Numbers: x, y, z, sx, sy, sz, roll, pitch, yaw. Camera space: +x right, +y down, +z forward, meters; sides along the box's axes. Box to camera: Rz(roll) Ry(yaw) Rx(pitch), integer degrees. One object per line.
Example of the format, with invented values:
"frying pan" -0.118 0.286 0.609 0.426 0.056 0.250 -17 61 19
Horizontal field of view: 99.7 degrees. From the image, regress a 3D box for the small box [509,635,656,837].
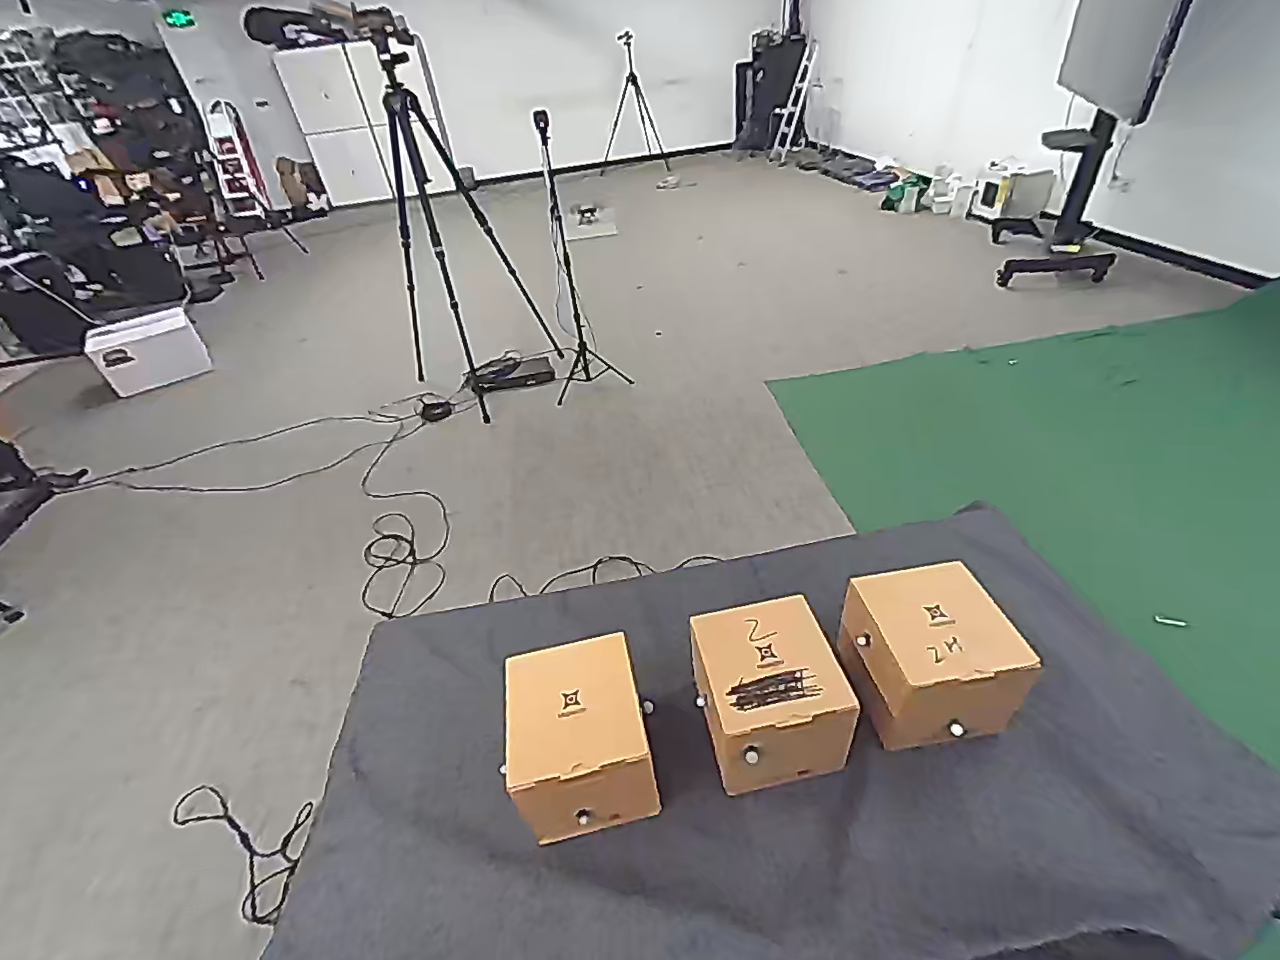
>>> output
"small box" -0.077 0.345 0.735 0.168 0.176 0.179 -11 39 -5
